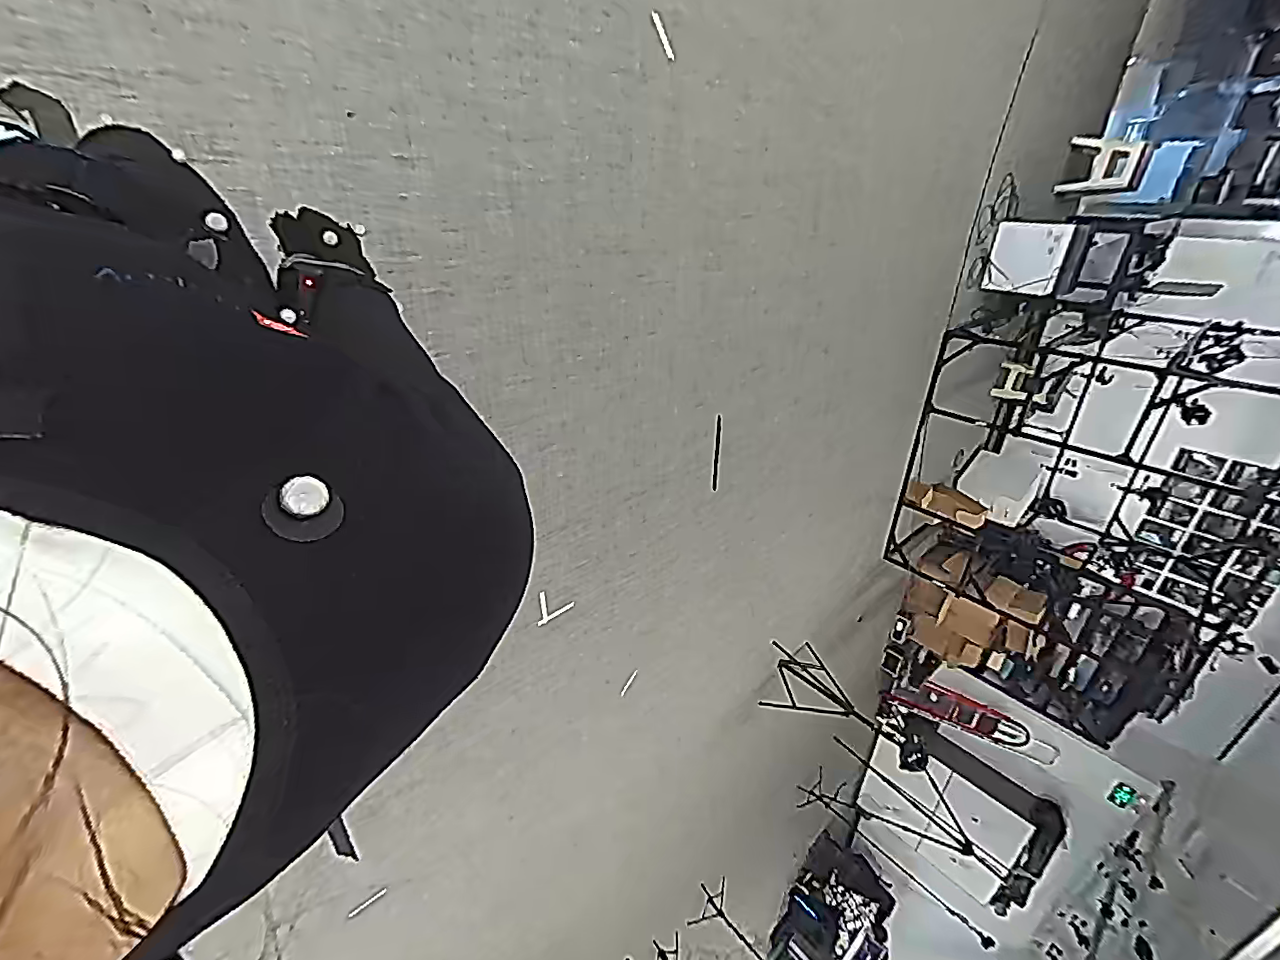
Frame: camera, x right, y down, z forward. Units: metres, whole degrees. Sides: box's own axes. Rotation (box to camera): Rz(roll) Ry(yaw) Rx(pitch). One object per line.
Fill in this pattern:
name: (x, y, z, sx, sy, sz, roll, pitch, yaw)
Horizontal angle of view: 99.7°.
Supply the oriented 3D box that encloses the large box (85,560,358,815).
large box: (-0.960, 0.455, 1.270, 0.408, 0.320, 0.320, -26, 129, -36)
